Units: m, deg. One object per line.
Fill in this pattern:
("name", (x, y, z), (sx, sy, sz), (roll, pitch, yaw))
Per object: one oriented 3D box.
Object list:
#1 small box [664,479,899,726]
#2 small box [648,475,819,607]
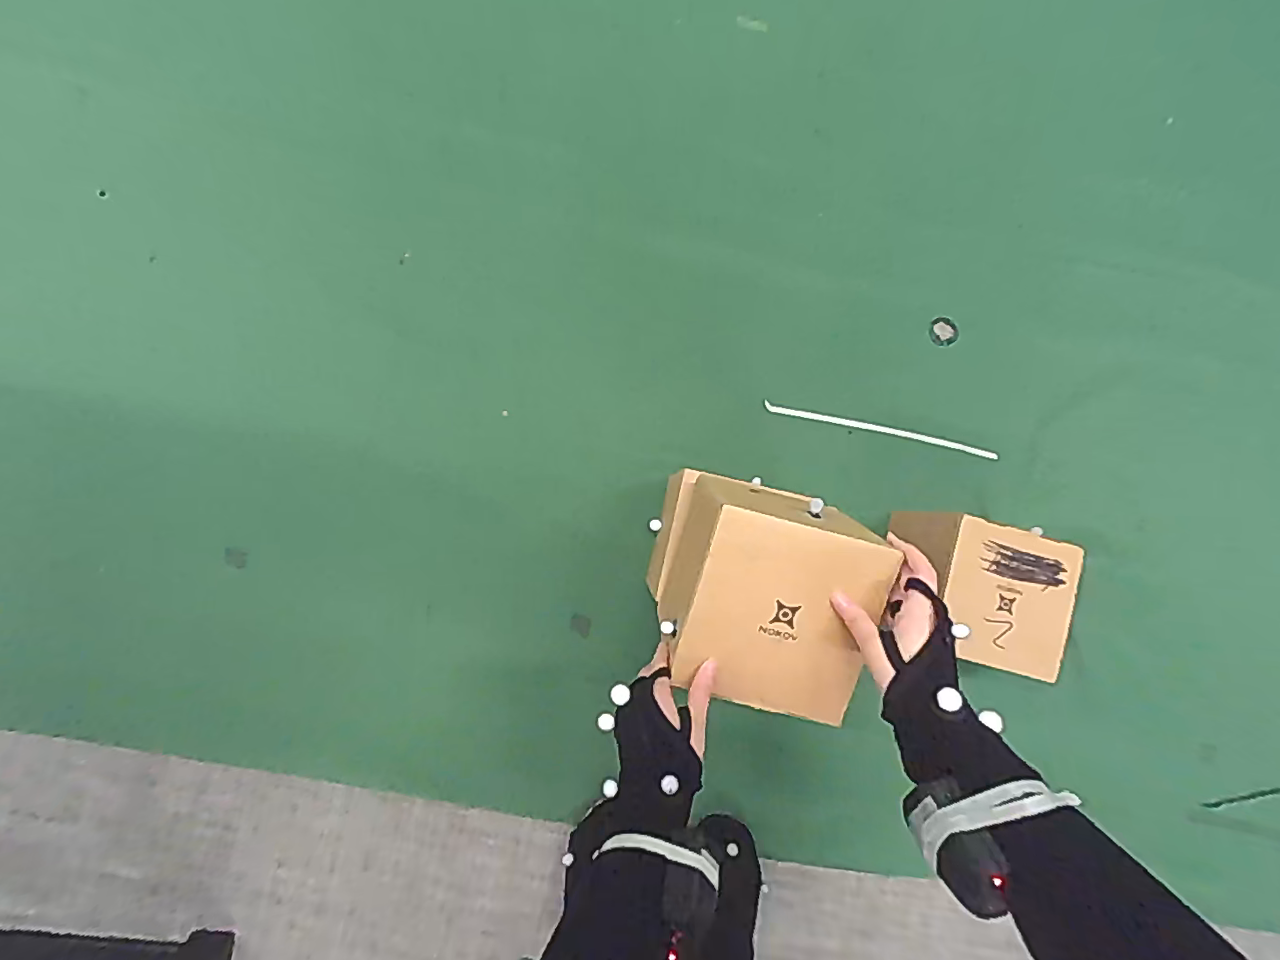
("small box", (0.123, 0.108, 0.552), (0.168, 0.176, 0.179), (15, 100, -3))
("small box", (0.115, 0.094, 0.731), (0.179, 0.176, 0.168), (13, 86, -1))
